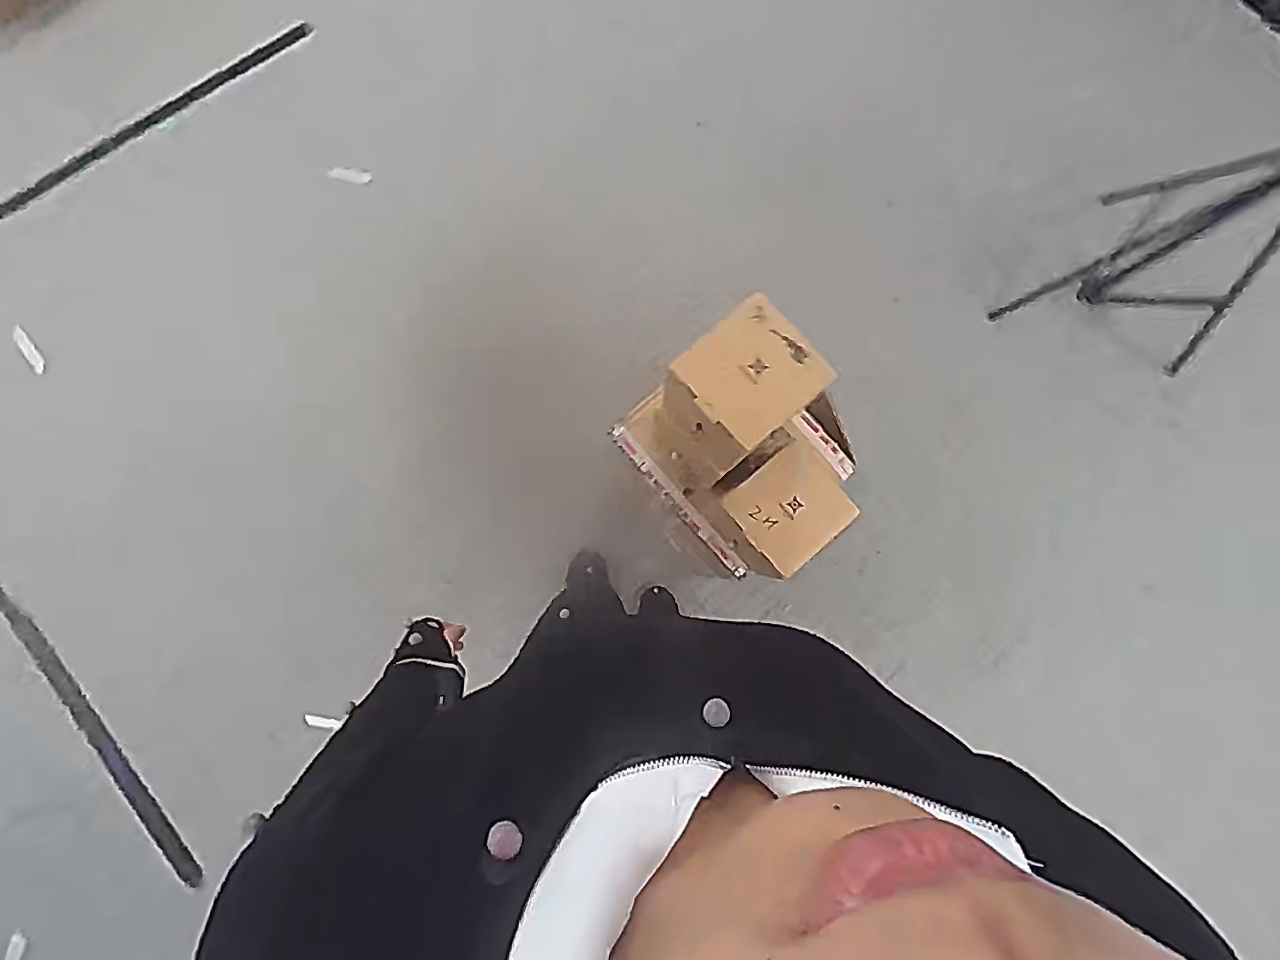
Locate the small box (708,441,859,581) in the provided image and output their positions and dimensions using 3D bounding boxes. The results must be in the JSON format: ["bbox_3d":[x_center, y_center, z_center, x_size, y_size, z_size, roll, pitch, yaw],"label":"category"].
[{"bbox_3d":[0.243,0.058,0.967,0.179,0.176,0.168,-39,86,-7],"label":"small box"}]

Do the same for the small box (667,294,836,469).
[{"bbox_3d":[0.157,-0.137,0.826,0.179,0.176,0.168,-40,84,-5],"label":"small box"}]

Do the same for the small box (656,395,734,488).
[{"bbox_3d":[0.142,-0.107,0.987,0.179,0.176,0.168,-42,84,-5],"label":"small box"}]
